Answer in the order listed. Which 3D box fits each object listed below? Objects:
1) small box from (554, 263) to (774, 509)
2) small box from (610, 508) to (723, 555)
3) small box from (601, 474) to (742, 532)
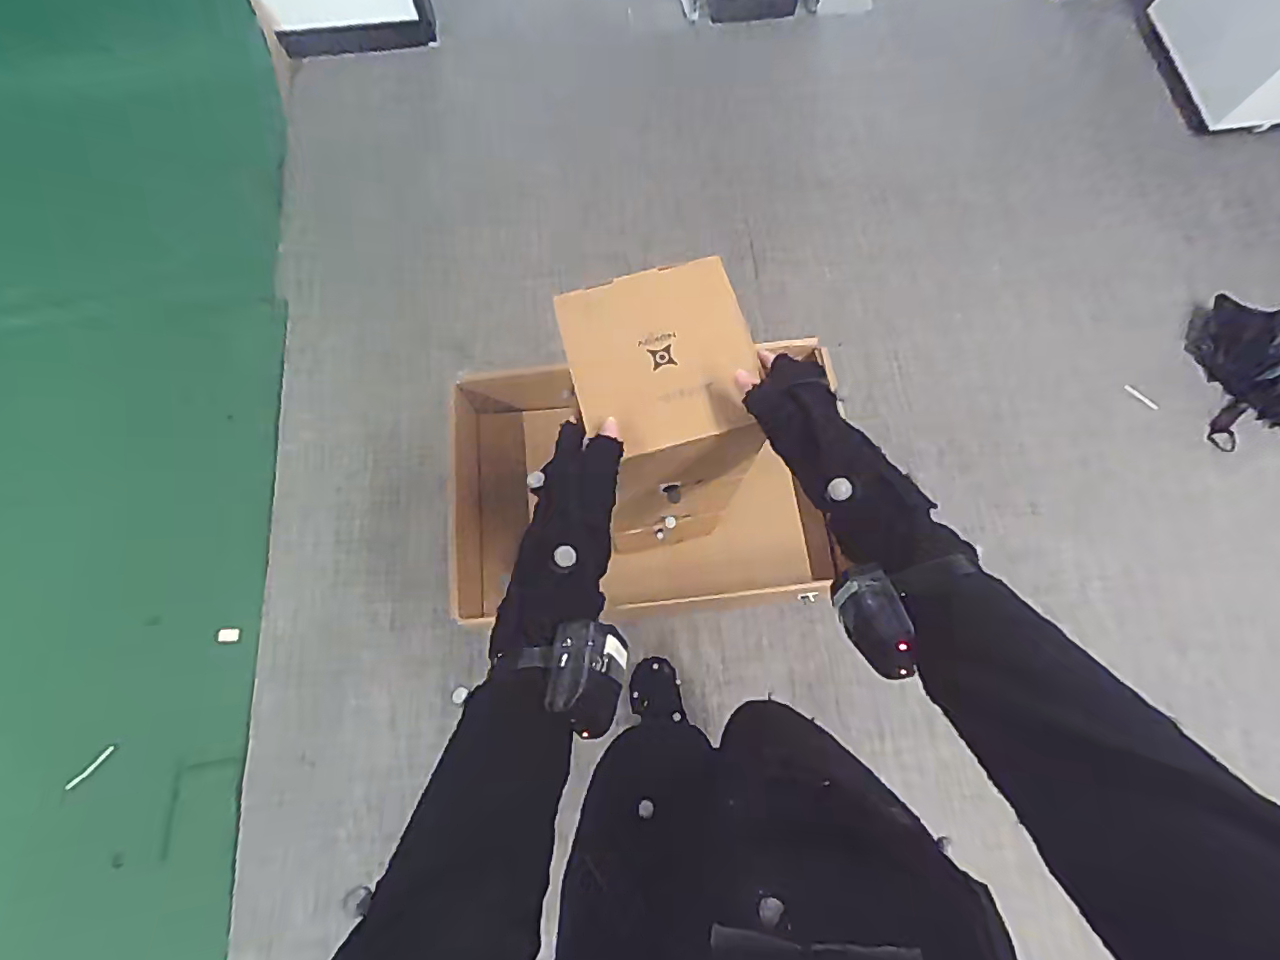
[{"bbox_3d":[0.019,-0.087,0.567,0.168,0.176,0.179,-16,74,-2],"label":"small box"},{"bbox_3d":[0.026,0.009,0.878,0.168,0.176,0.179,-13,72,-2],"label":"small box"},{"bbox_3d":[0.024,-0.042,0.722,0.168,0.176,0.179,-12,74,-2],"label":"small box"}]
